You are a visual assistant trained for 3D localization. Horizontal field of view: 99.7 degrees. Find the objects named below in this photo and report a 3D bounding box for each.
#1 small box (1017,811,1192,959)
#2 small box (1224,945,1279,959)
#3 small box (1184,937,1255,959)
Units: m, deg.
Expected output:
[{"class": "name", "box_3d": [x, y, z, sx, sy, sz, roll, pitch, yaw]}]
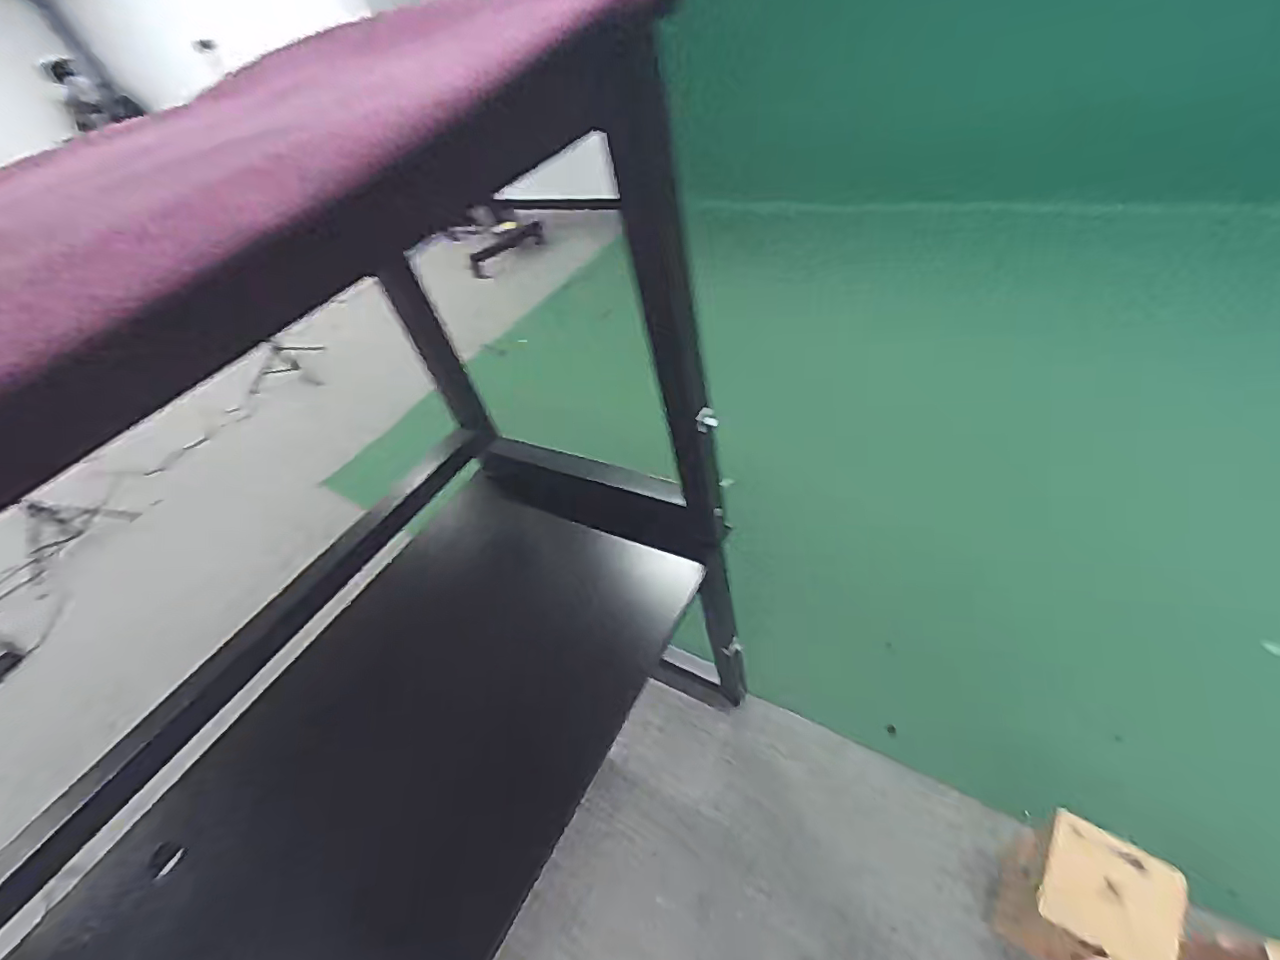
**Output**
[{"class": "small box", "box_3d": [0.749, 0.697, 0.888, 0.168, 0.176, 0.179, 22, 56, 33]}, {"class": "small box", "box_3d": [0.978, 0.774, 0.748, 0.179, 0.176, 0.168, 0, 49, 16]}, {"class": "small box", "box_3d": [1.023, 0.878, 0.864, 0.179, 0.176, 0.168, 11, 52, 24]}]
